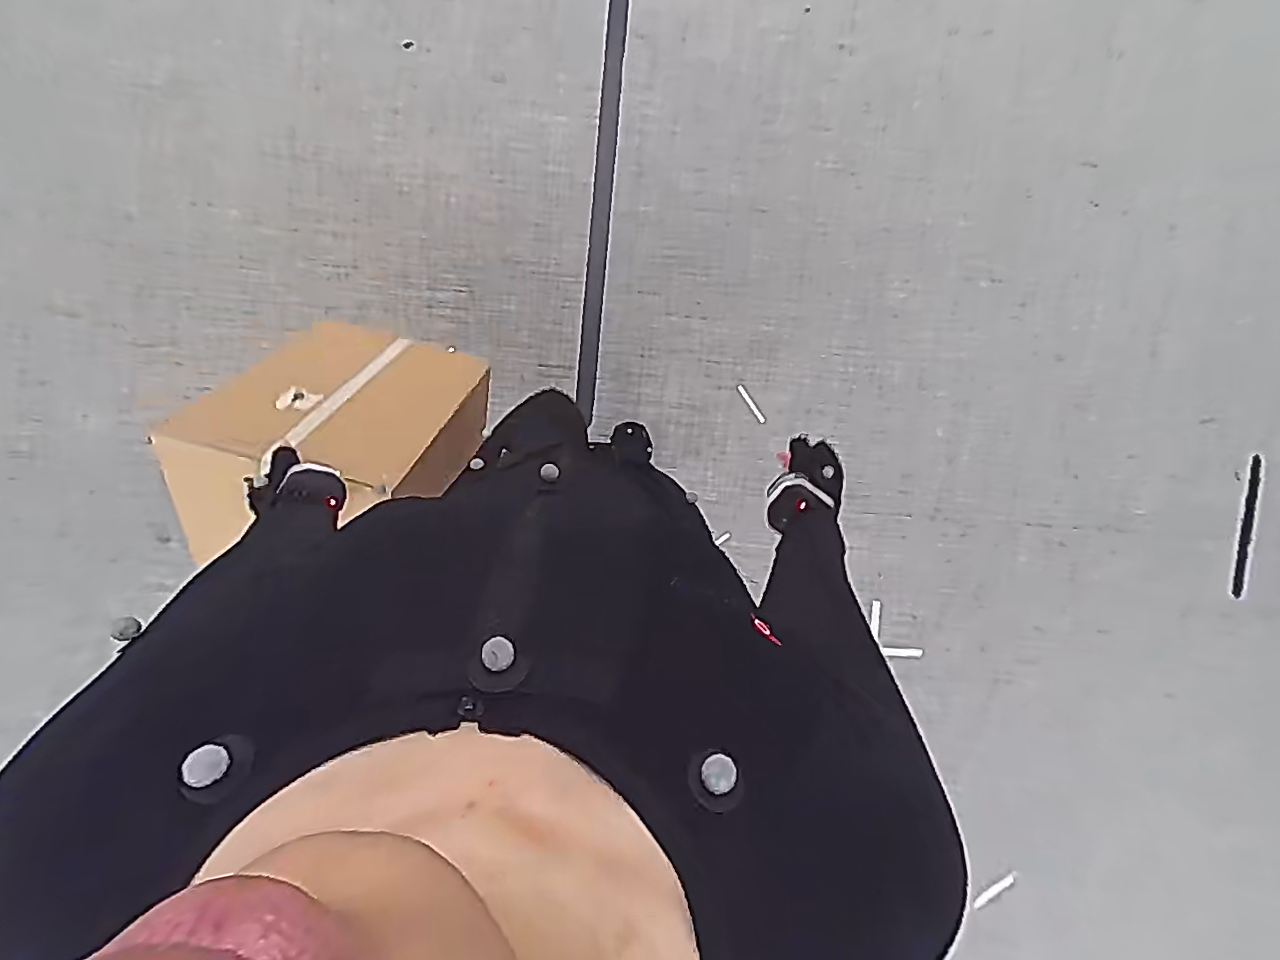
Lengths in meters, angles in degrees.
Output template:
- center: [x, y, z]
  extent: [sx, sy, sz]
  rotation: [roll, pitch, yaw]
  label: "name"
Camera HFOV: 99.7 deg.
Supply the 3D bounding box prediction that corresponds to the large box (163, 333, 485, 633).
- center: [-0.493, -0.010, 0.956]
  extent: [0.320, 0.408, 0.320]
  rotation: [13, 126, -2]
  label: "large box"
